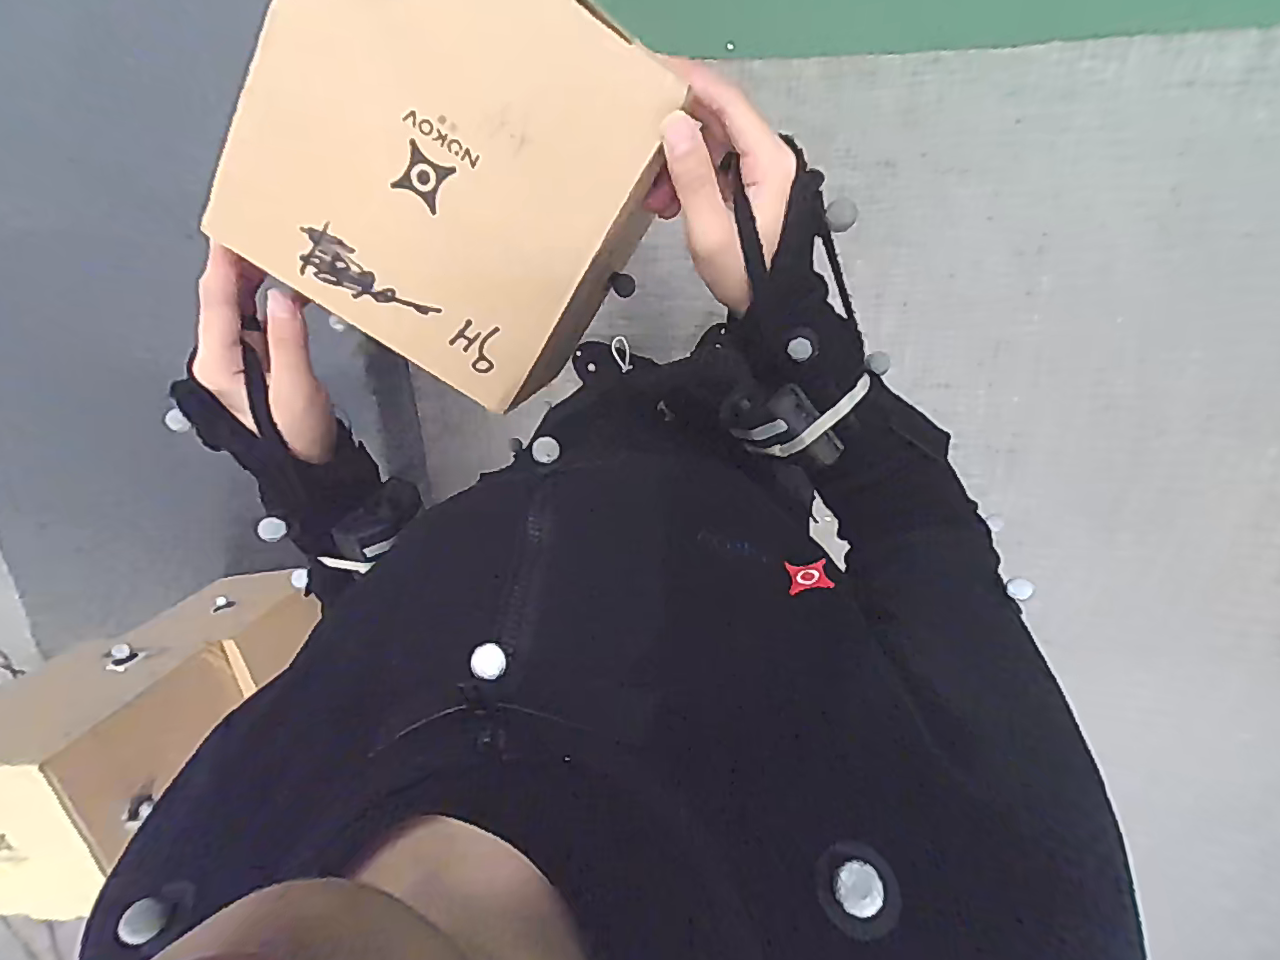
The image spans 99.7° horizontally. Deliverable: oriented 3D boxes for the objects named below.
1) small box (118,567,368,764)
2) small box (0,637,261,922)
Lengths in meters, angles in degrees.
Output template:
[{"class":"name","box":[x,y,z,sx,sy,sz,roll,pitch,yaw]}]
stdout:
[{"class":"small box","box":[-0.482,0.225,0.672,0.179,0.176,0.168,-8,108,9]},{"class":"small box","box":[-0.515,0.274,0.520,0.168,0.176,0.179,-5,108,7]}]
